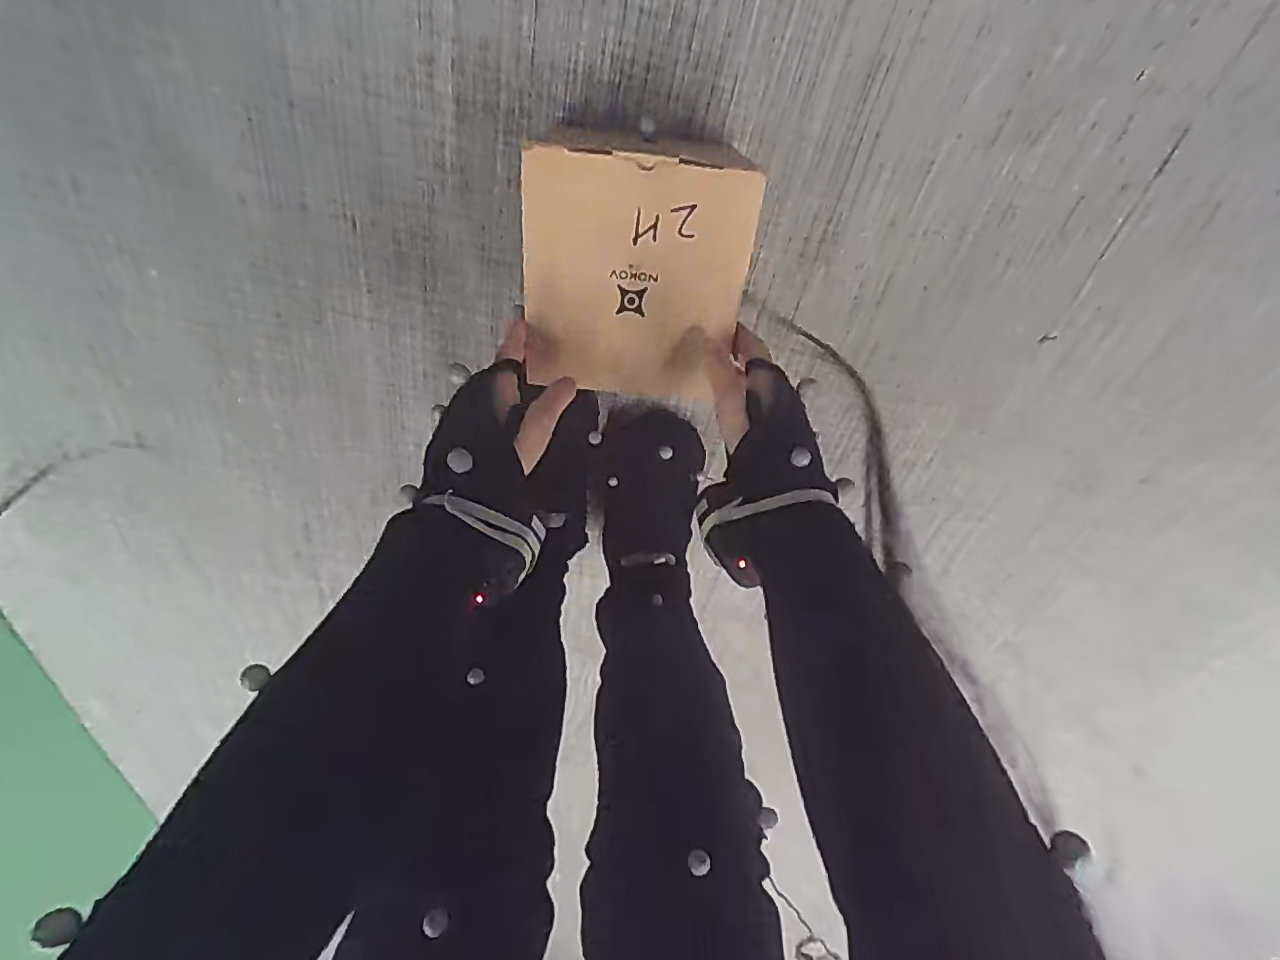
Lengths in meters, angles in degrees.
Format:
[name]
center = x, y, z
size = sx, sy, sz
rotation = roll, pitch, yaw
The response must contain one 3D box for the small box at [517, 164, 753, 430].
[small box]
center = -0.010, -0.165, 0.479
size = 0.168, 0.176, 0.179
rotation = 4, 124, -4
